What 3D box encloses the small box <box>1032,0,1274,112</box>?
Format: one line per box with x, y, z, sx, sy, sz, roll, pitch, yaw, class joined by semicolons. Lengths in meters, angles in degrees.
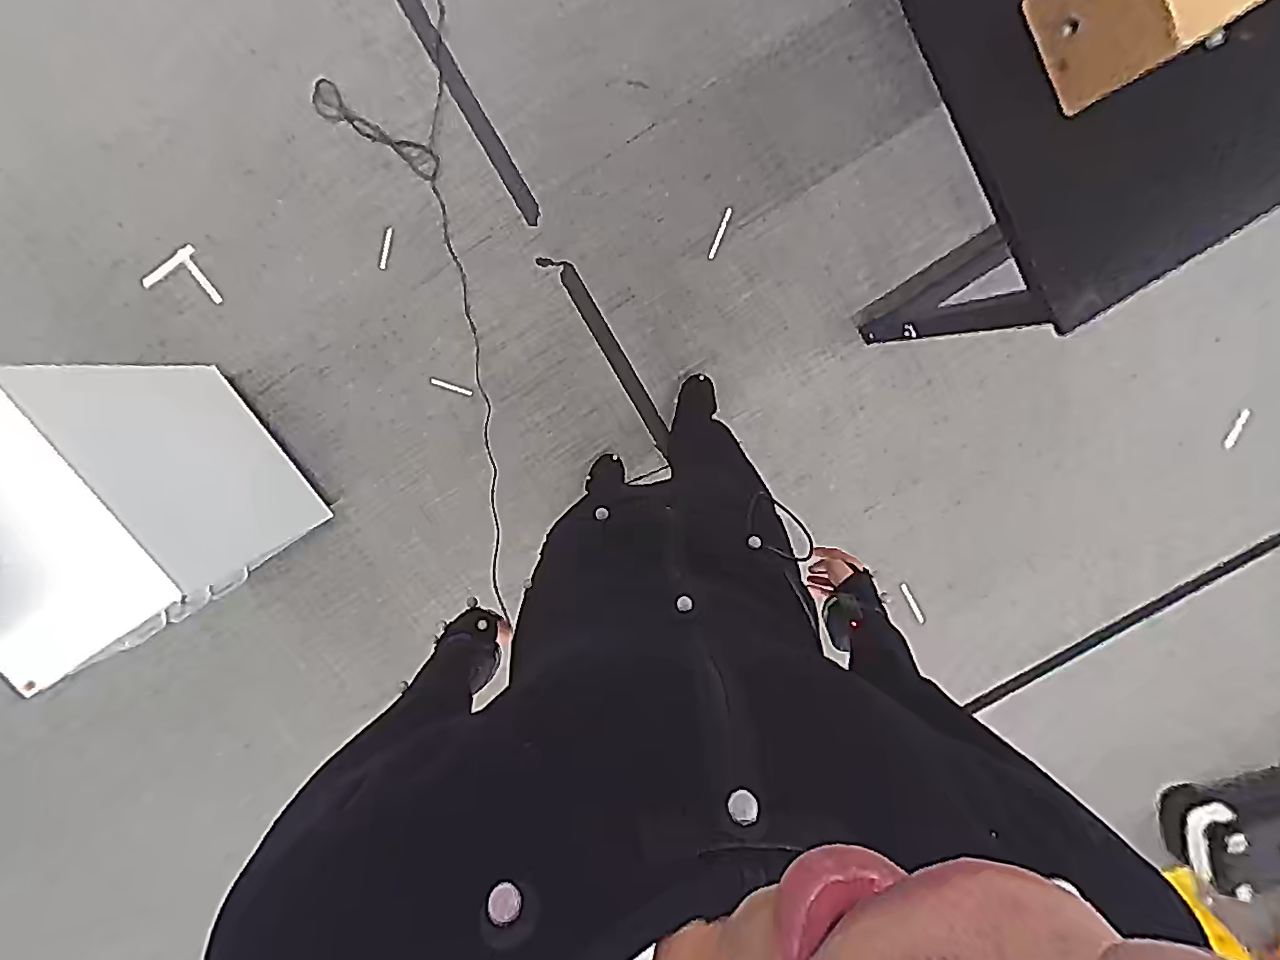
0.644;-0.609;0.665;0.179;0.176;0.168;-32;101;5;small box
